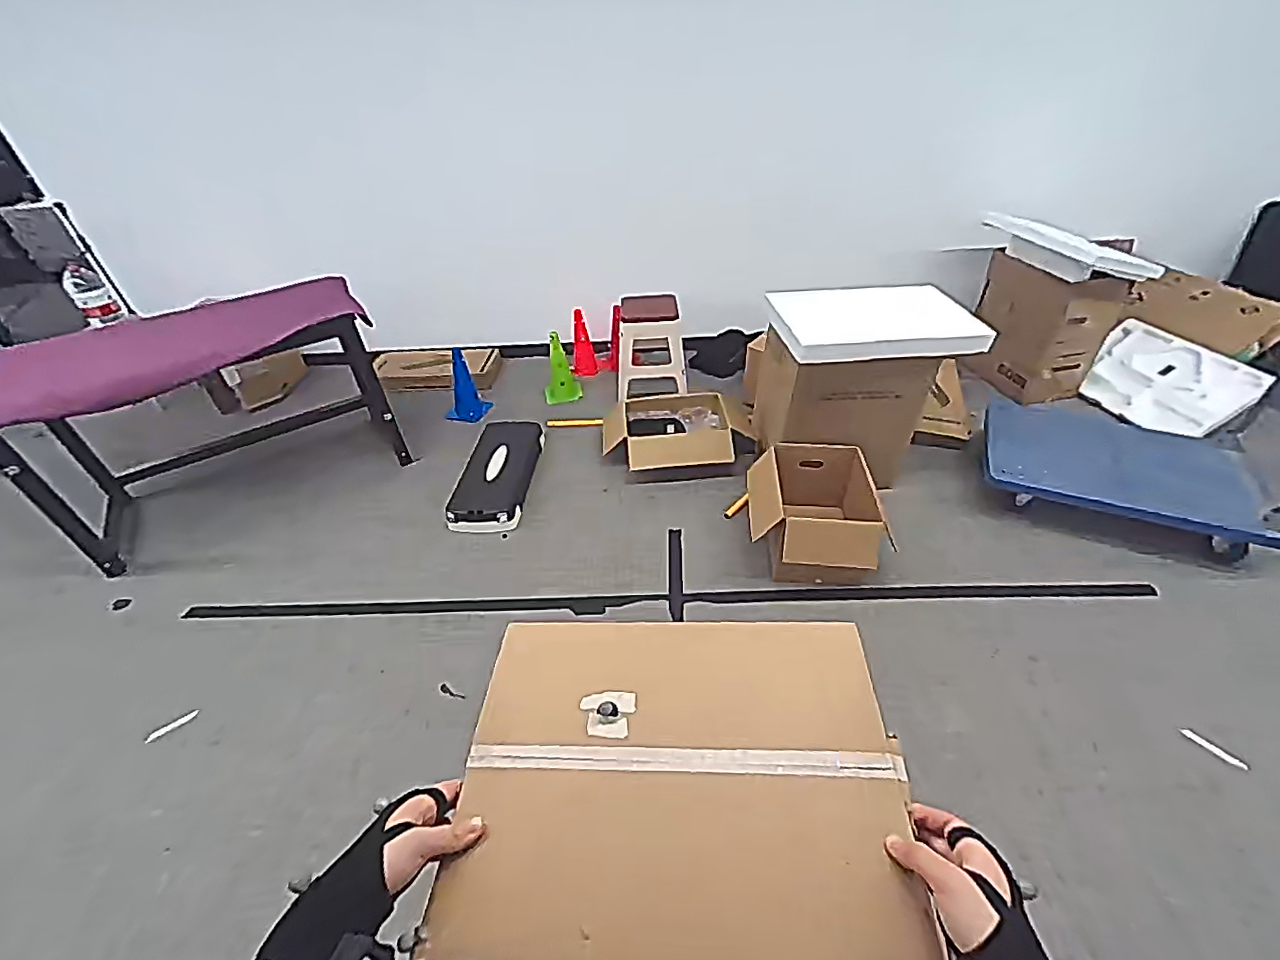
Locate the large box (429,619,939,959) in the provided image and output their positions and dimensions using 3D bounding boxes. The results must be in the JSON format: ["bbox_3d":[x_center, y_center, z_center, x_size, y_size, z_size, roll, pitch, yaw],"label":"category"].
[{"bbox_3d":[0.053,0.383,0.621,0.408,0.320,0.320,-4,40,8],"label":"large box"}]
